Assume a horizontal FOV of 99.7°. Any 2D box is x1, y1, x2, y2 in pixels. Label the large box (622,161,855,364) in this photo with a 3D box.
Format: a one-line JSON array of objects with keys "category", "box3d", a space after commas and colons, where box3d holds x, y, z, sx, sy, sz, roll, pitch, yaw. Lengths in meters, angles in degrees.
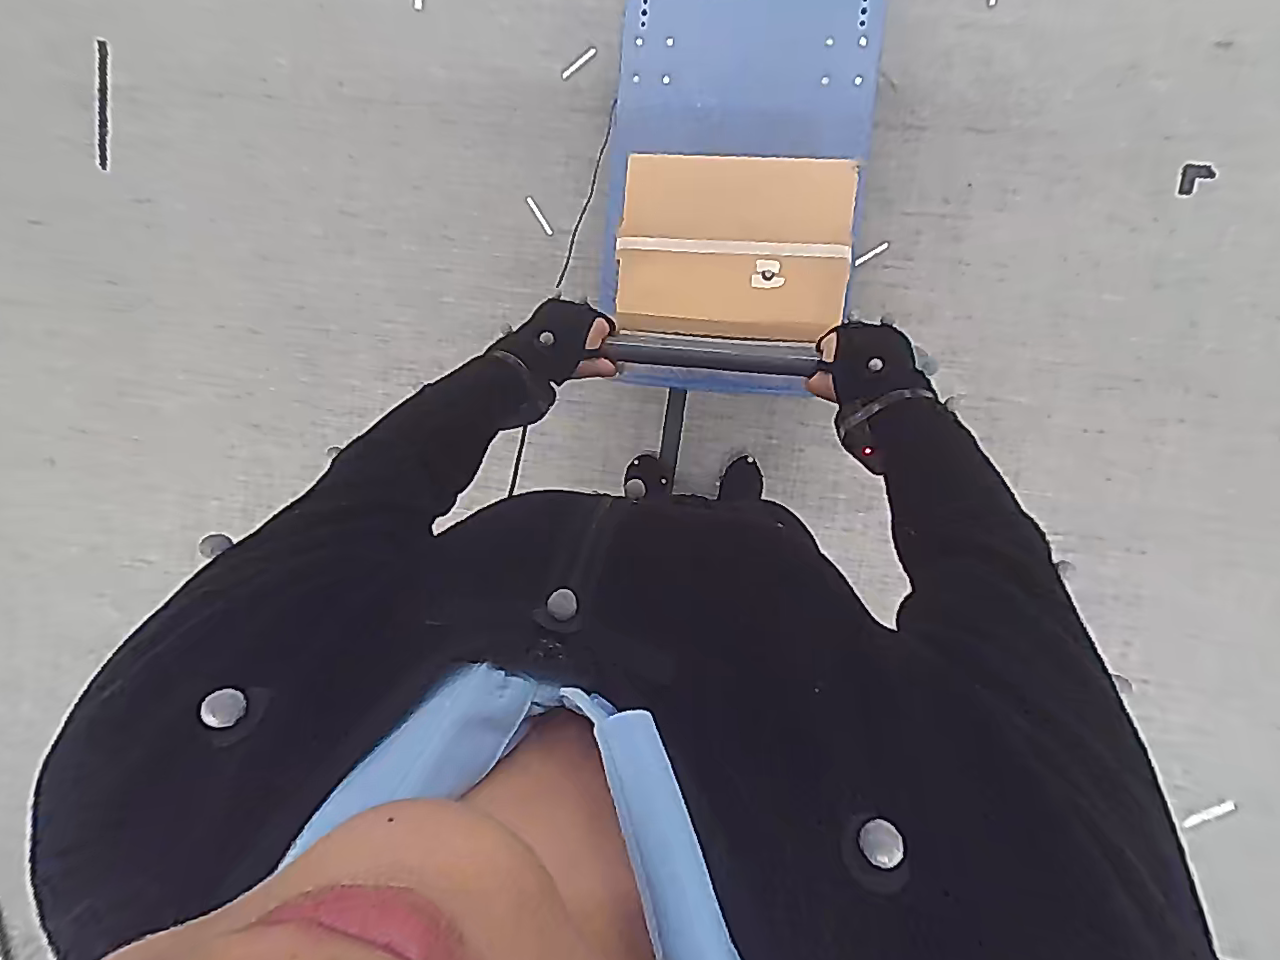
[{"category": "large box", "box3d": [0.186, -0.426, 1.125, 0.408, 0.320, 0.320, 5, 96, 6]}]
